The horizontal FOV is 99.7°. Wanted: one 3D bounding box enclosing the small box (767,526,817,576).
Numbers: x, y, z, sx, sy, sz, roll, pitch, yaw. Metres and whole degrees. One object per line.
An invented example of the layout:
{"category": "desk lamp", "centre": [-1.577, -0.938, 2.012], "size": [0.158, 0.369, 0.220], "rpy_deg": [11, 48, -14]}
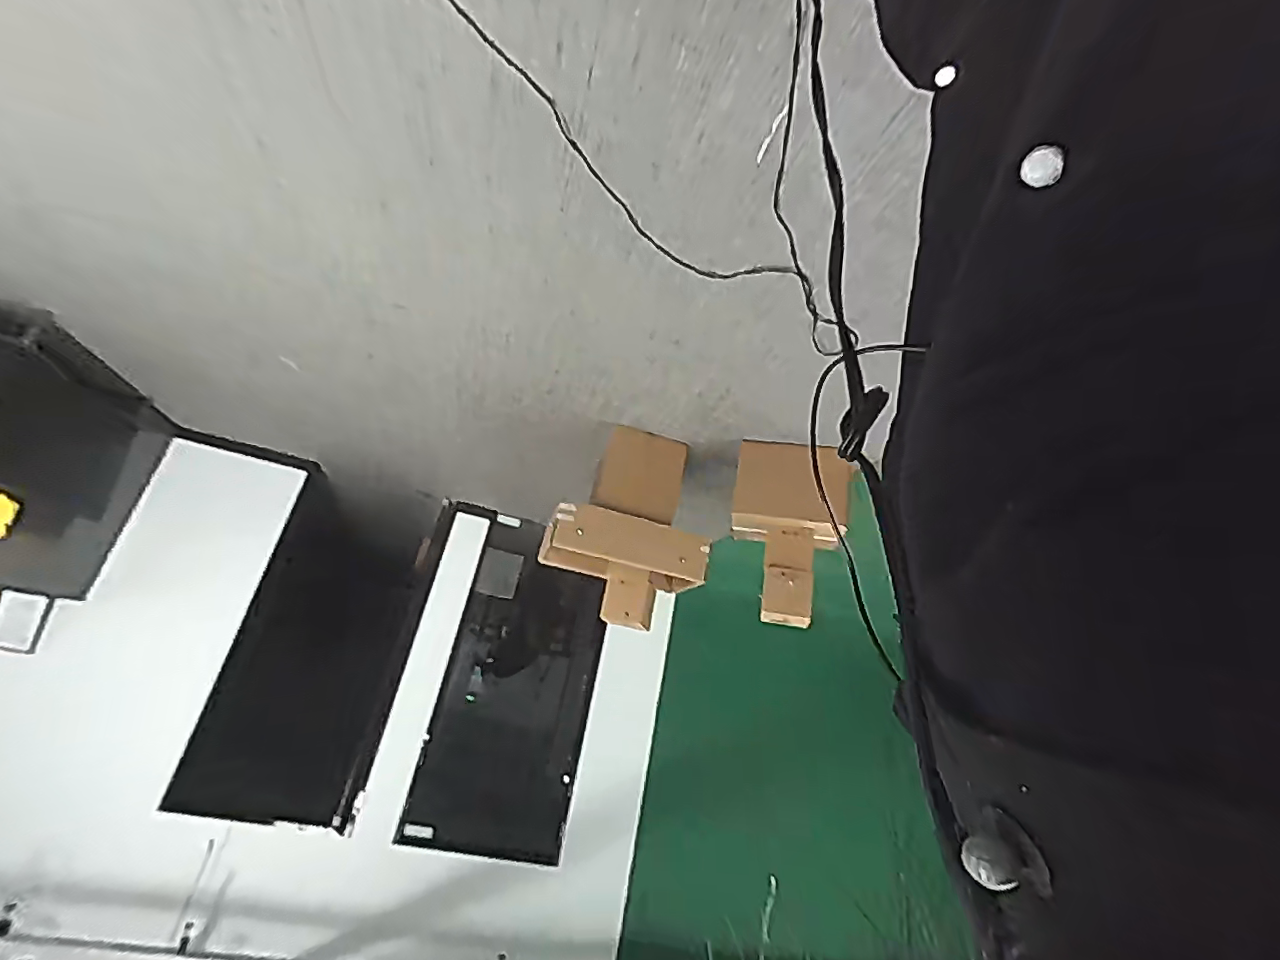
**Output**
{"category": "small box", "centre": [0.572, 0.286, 2.026], "size": [0.168, 0.176, 0.179], "rpy_deg": [4, 157, 18]}

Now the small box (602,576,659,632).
{"category": "small box", "centre": [-0.031, 0.487, 2.119], "size": [0.168, 0.176, 0.179], "rpy_deg": [6, 158, 16]}

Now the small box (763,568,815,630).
{"category": "small box", "centre": [0.538, 0.430, 1.954], "size": [0.168, 0.176, 0.179], "rpy_deg": [6, 156, 14]}

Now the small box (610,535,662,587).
{"category": "small box", "centre": [-0.012, 0.333, 2.174], "size": [0.168, 0.176, 0.179], "rpy_deg": [9, 158, 11]}
